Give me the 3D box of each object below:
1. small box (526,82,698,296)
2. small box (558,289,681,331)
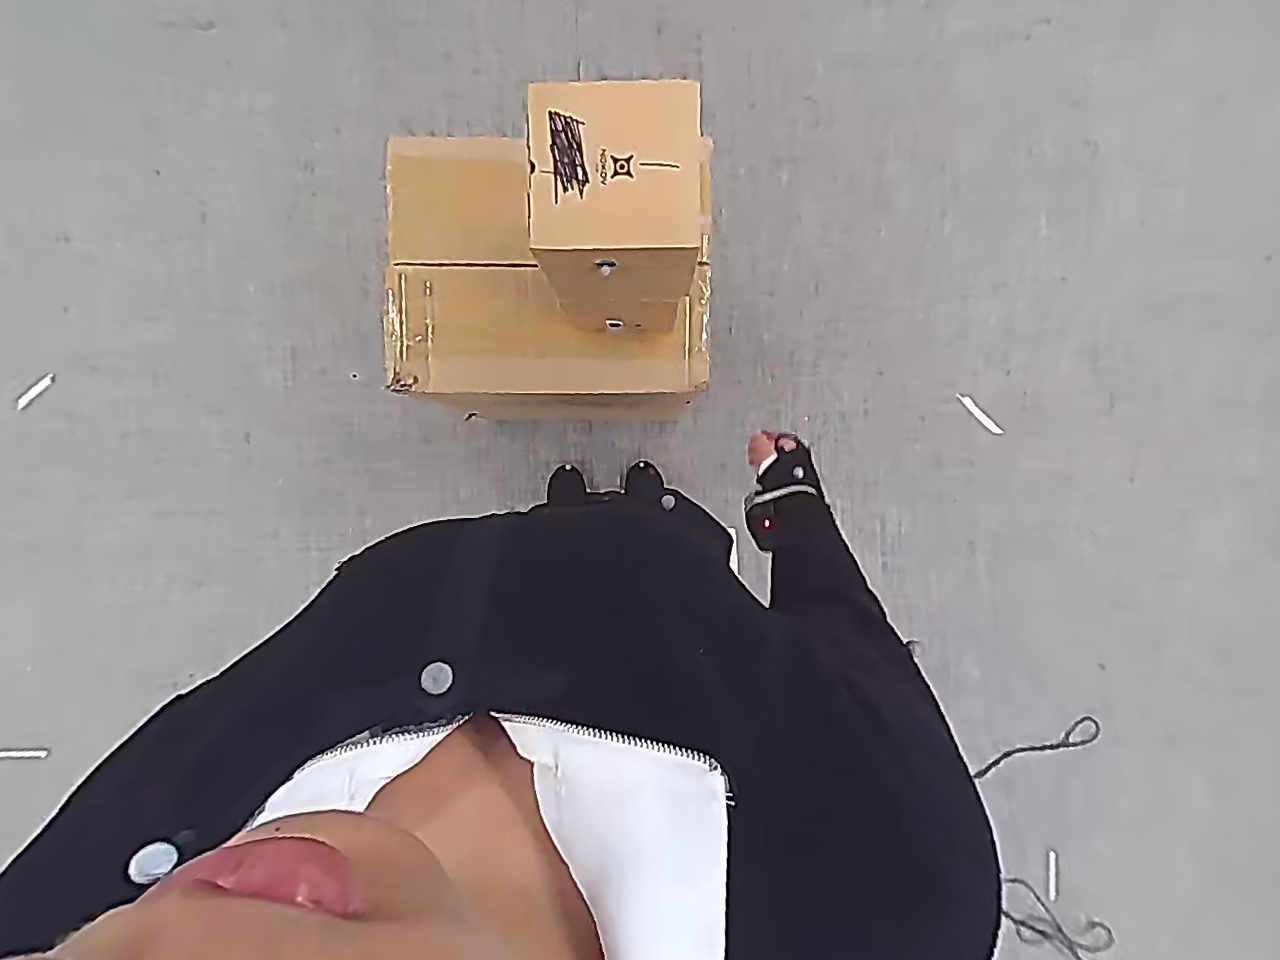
[{"bbox_3d":[-0.026,-0.319,0.625,0.179,0.176,0.168,0,92,1],"label":"small box"},{"bbox_3d":[-0.026,-0.326,0.790,0.168,0.176,0.179,0,93,2],"label":"small box"}]
